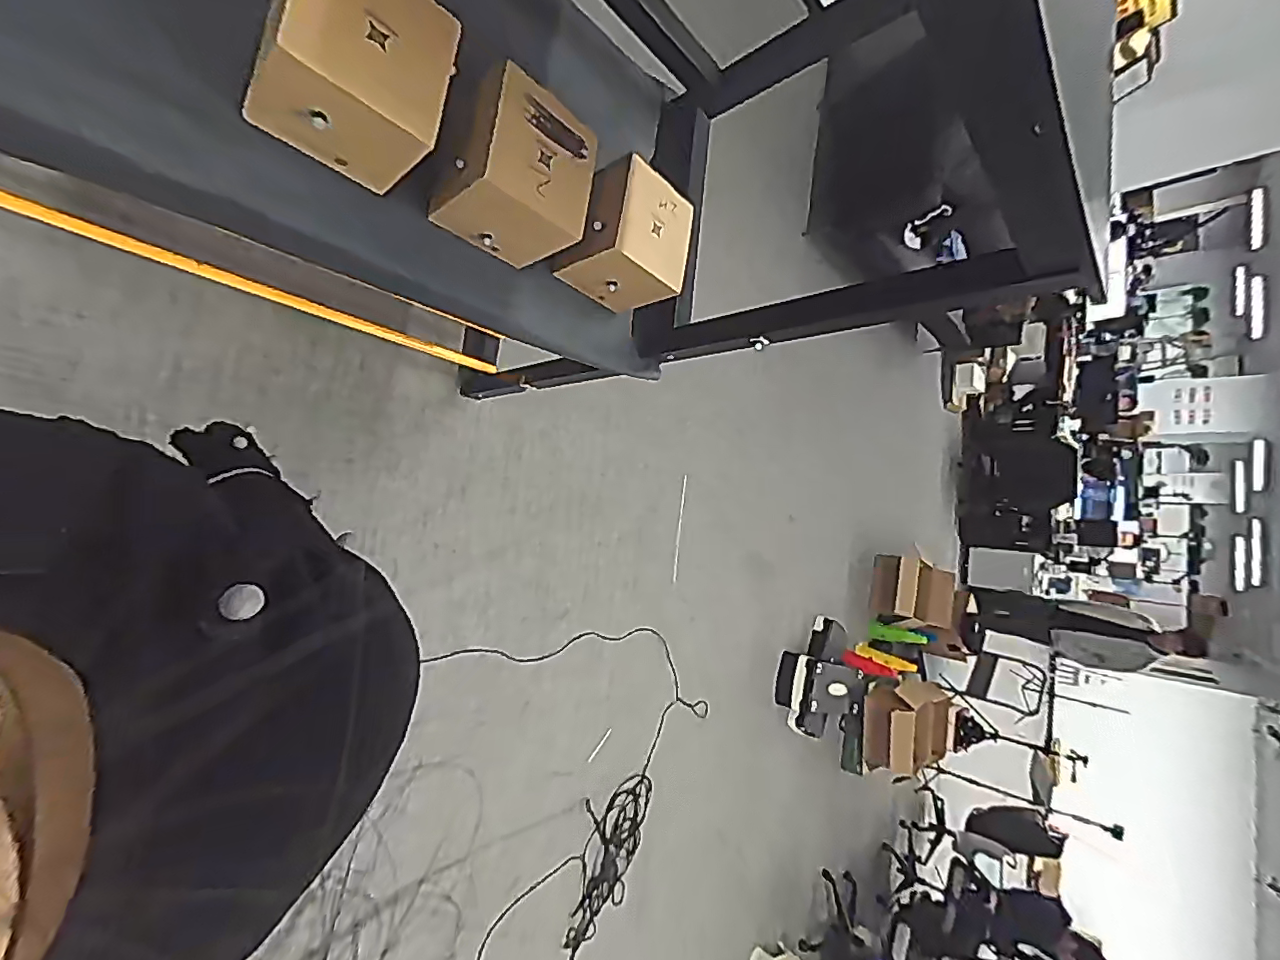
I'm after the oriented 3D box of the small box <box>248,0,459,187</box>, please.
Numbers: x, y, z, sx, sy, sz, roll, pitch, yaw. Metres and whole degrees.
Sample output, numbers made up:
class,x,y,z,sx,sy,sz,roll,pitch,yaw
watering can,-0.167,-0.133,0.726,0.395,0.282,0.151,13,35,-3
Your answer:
class,x,y,z,sx,sy,sz,roll,pitch,yaw
small box,-0.347,-0.496,0.651,0.168,0.176,0.179,16,79,-45

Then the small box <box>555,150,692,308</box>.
class,x,y,z,sx,sy,sz,roll,pitch,yaw
small box,-0.032,-0.433,0.971,0.168,0.176,0.179,18,78,-45
